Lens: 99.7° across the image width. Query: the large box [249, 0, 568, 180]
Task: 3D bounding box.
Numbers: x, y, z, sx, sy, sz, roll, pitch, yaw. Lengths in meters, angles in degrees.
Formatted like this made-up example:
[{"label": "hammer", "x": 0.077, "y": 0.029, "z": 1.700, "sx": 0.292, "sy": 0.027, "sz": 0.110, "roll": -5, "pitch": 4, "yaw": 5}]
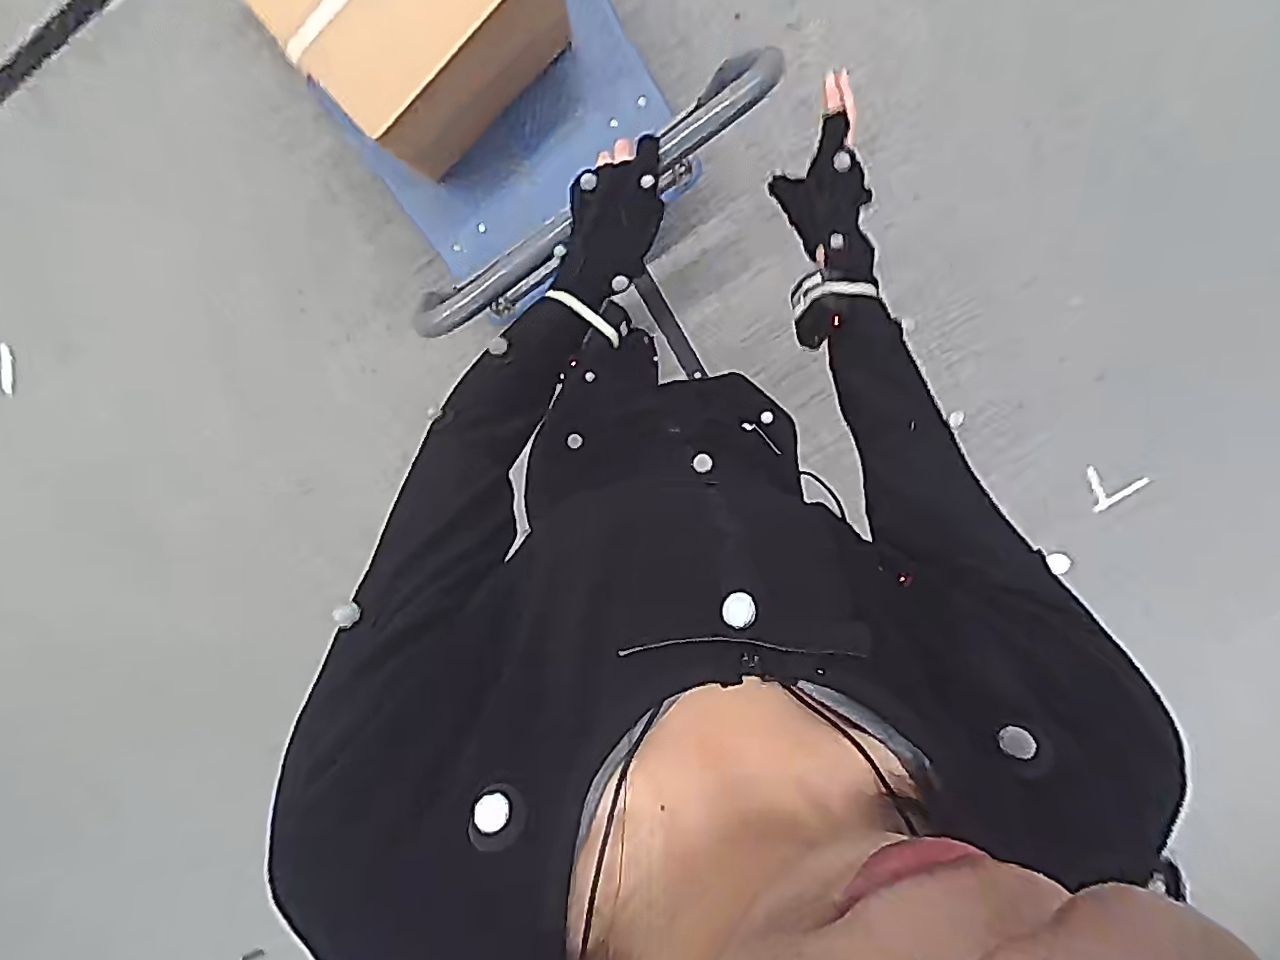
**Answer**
[{"label": "large box", "x": -0.378, "y": -0.817, "z": 0.926, "sx": 0.408, "sy": 0.320, "sz": 0.320, "roll": -41, "pitch": 105, "yaw": 9}]
